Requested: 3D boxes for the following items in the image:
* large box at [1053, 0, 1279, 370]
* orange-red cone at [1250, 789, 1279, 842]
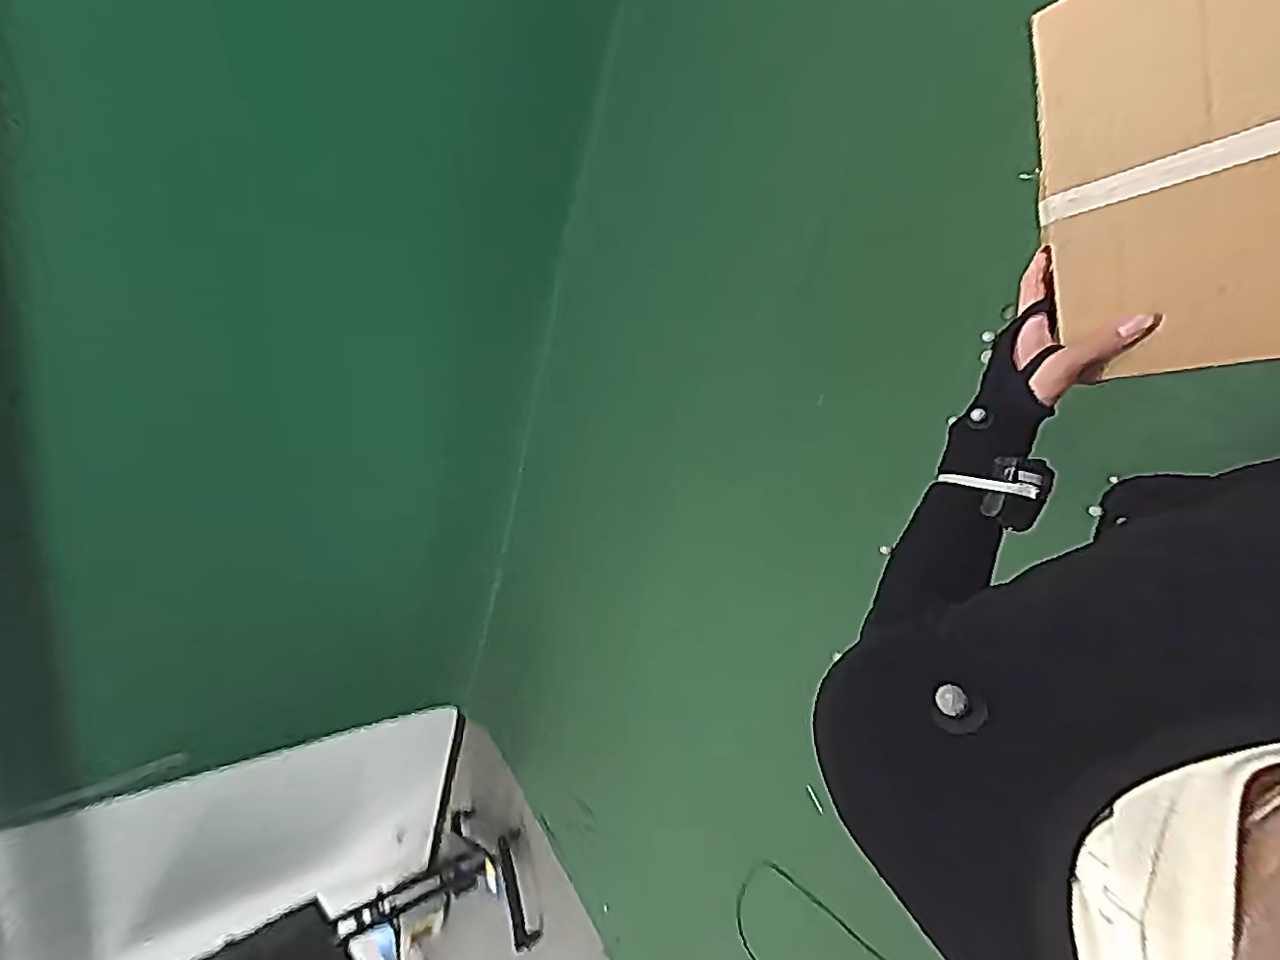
[{"bbox_3d":[0.613,-0.288,0.426,0.408,0.320,0.320,-1,104,48],"label":"large box"},{"bbox_3d":[1.216,0.675,0.917,0.198,0.360,0.199,45,125,40],"label":"orange-red cone"}]
